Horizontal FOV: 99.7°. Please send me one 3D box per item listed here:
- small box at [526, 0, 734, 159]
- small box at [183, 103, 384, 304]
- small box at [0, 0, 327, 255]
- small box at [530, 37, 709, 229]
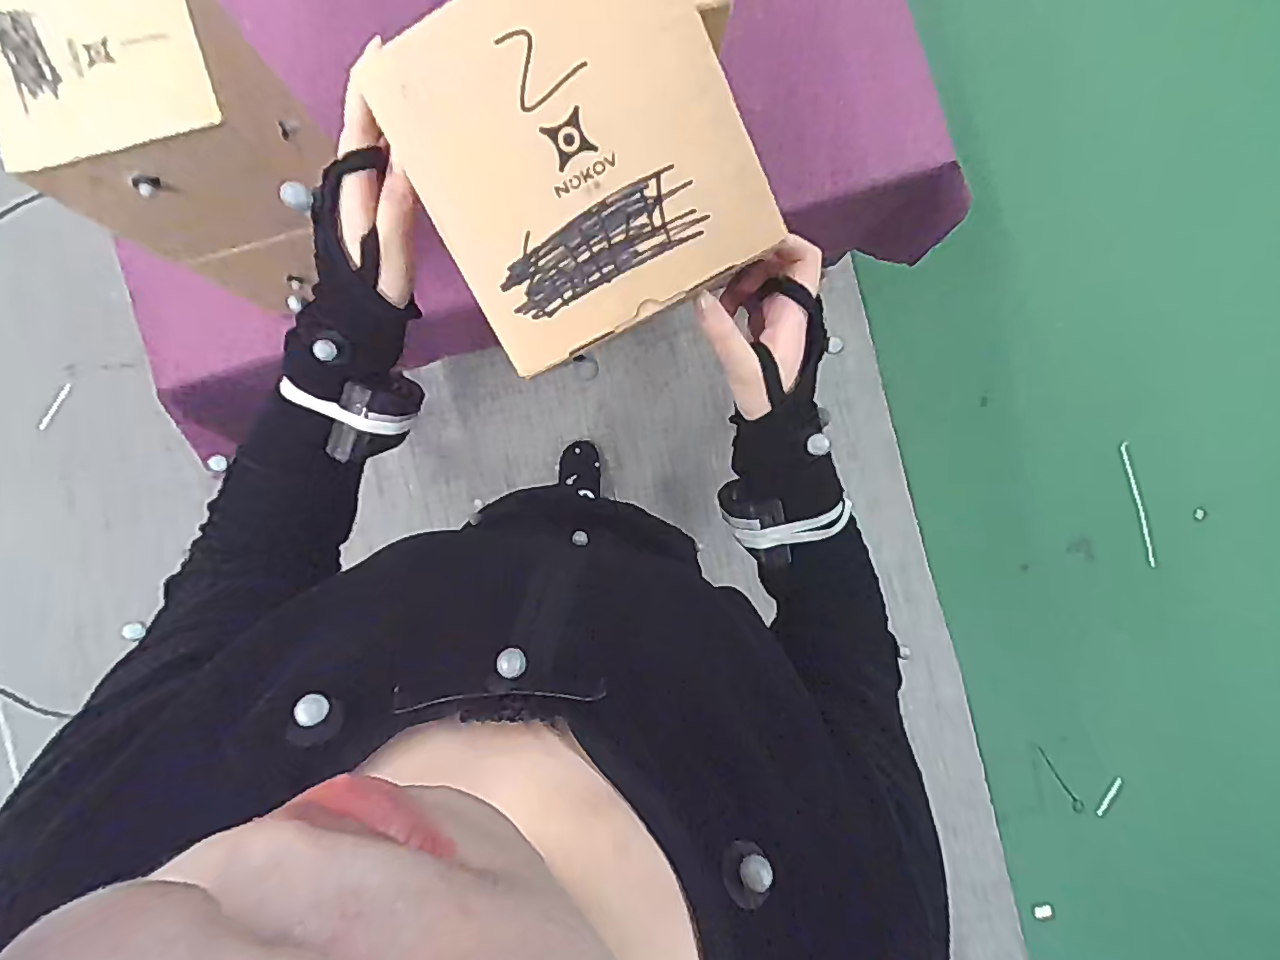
[{"bbox_3d":[-0.023,-0.472,0.546,0.168,0.176,0.179,-16,90,-3],"label":"small box"},{"bbox_3d":[-0.455,-0.341,0.686,0.168,0.176,0.179,-17,89,-4],"label":"small box"},{"bbox_3d":[-0.448,-0.344,0.522,0.179,0.176,0.168,-17,90,-4],"label":"small box"},{"bbox_3d":[-0.025,-0.461,0.709,0.179,0.176,0.168,-18,89,-2],"label":"small box"}]
